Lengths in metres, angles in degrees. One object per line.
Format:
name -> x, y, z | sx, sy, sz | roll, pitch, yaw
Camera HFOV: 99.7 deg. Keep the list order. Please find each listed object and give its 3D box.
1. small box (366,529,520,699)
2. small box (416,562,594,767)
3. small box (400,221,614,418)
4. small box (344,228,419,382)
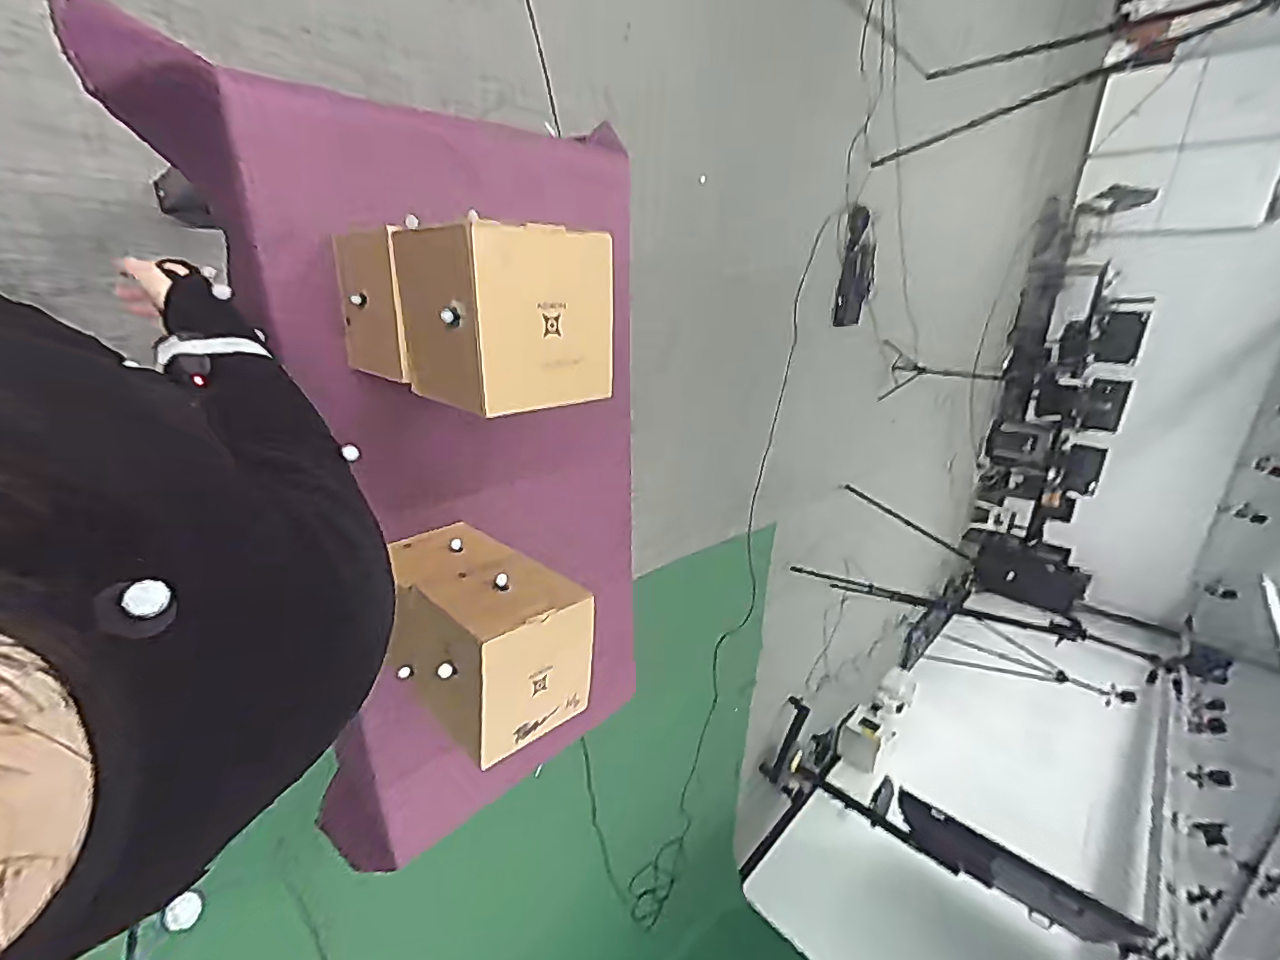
small box -> -0.295, 0.186, 0.823 | 0.168, 0.176, 0.179 | -18, 118, -43
small box -> -0.179, 0.221, 0.711 | 0.168, 0.176, 0.179 | -12, 113, -45
small box -> -0.145, -0.176, 0.595 | 0.168, 0.176, 0.179 | -17, 117, -42
small box -> -0.263, -0.222, 0.700 | 0.179, 0.176, 0.168 | -16, 117, -44
